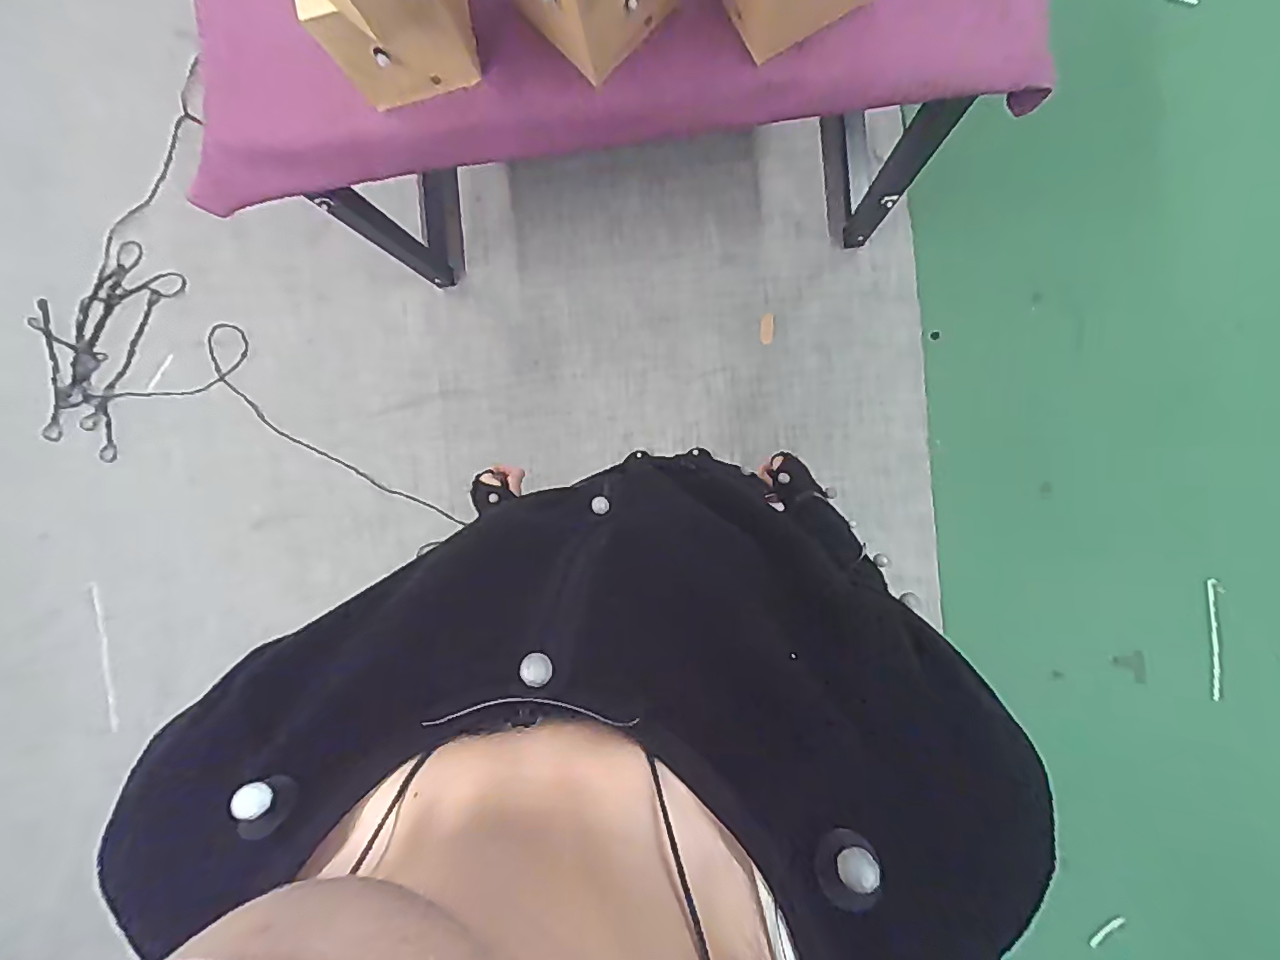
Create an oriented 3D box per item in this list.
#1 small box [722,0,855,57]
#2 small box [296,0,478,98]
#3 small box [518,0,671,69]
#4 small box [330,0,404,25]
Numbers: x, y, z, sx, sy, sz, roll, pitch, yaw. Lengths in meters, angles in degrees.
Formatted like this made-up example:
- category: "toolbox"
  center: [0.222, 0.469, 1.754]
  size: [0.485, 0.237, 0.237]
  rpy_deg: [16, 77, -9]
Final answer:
- category: "small box"
  center: [0.190, -0.685, 0.658]
  size: [0.179, 0.176, 0.168]
  rpy_deg: [-27, 87, 6]
- category: "small box"
  center: [-0.331, -0.645, 0.710]
  size: [0.168, 0.176, 0.179]
  rpy_deg: [-12, 89, 6]
- category: "small box"
  center: [-0.070, -0.675, 0.682]
  size: [0.168, 0.176, 0.179]
  rpy_deg: [-42, 87, 4]
- category: "small box"
  center: [-0.317, -0.622, 0.544]
  size: [0.179, 0.176, 0.168]
  rpy_deg: [40, 94, 3]
